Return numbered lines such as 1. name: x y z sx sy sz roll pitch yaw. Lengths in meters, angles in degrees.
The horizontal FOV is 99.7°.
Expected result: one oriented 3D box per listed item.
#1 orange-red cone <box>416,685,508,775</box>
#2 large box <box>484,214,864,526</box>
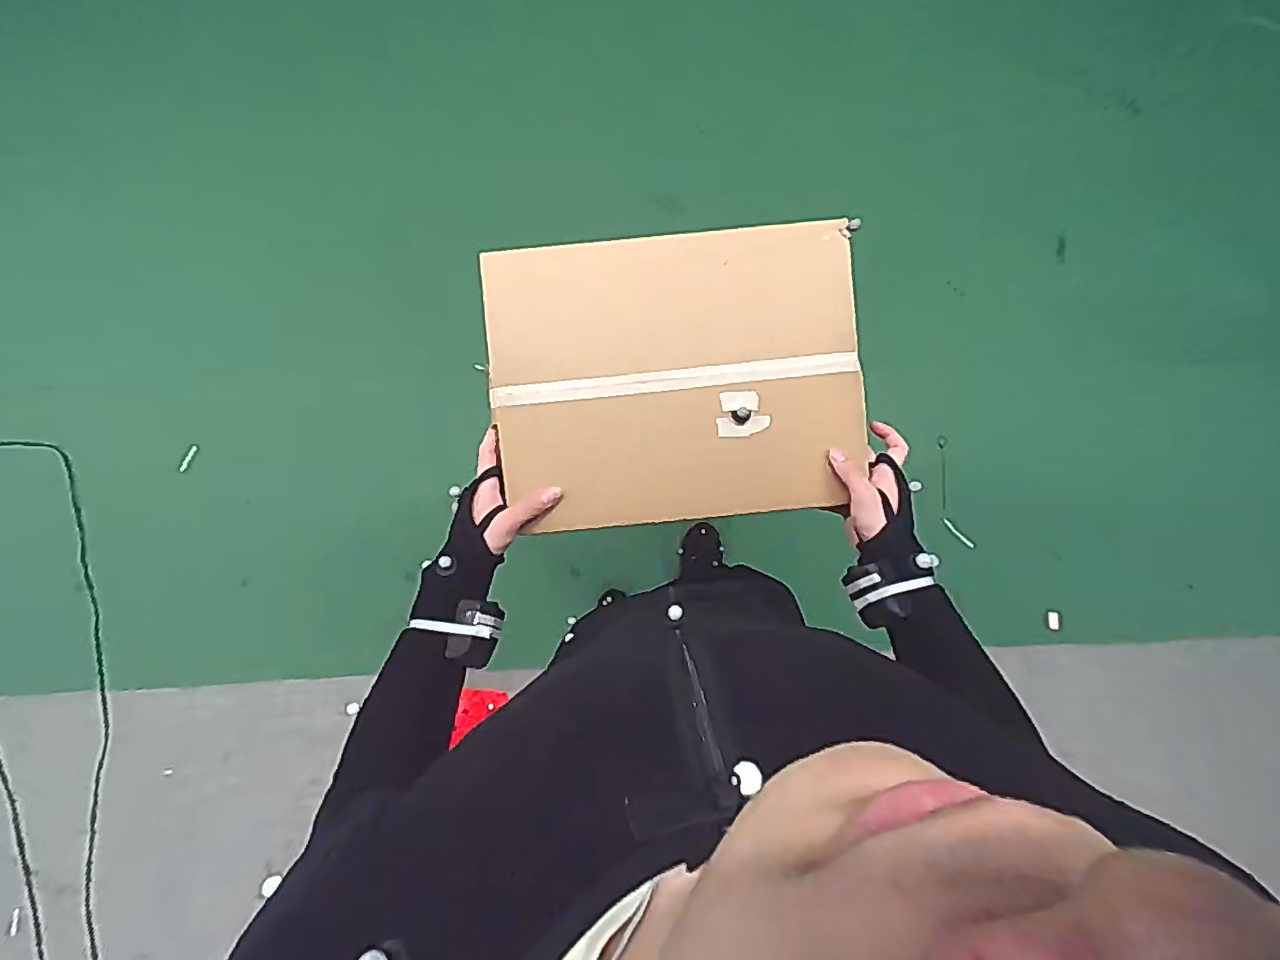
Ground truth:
1. orange-red cone: -0.493 0.679 1.398 0.199 0.360 0.198 5 81 2
2. large box: 0.037 -0.127 0.751 0.408 0.320 0.320 -6 93 -1
